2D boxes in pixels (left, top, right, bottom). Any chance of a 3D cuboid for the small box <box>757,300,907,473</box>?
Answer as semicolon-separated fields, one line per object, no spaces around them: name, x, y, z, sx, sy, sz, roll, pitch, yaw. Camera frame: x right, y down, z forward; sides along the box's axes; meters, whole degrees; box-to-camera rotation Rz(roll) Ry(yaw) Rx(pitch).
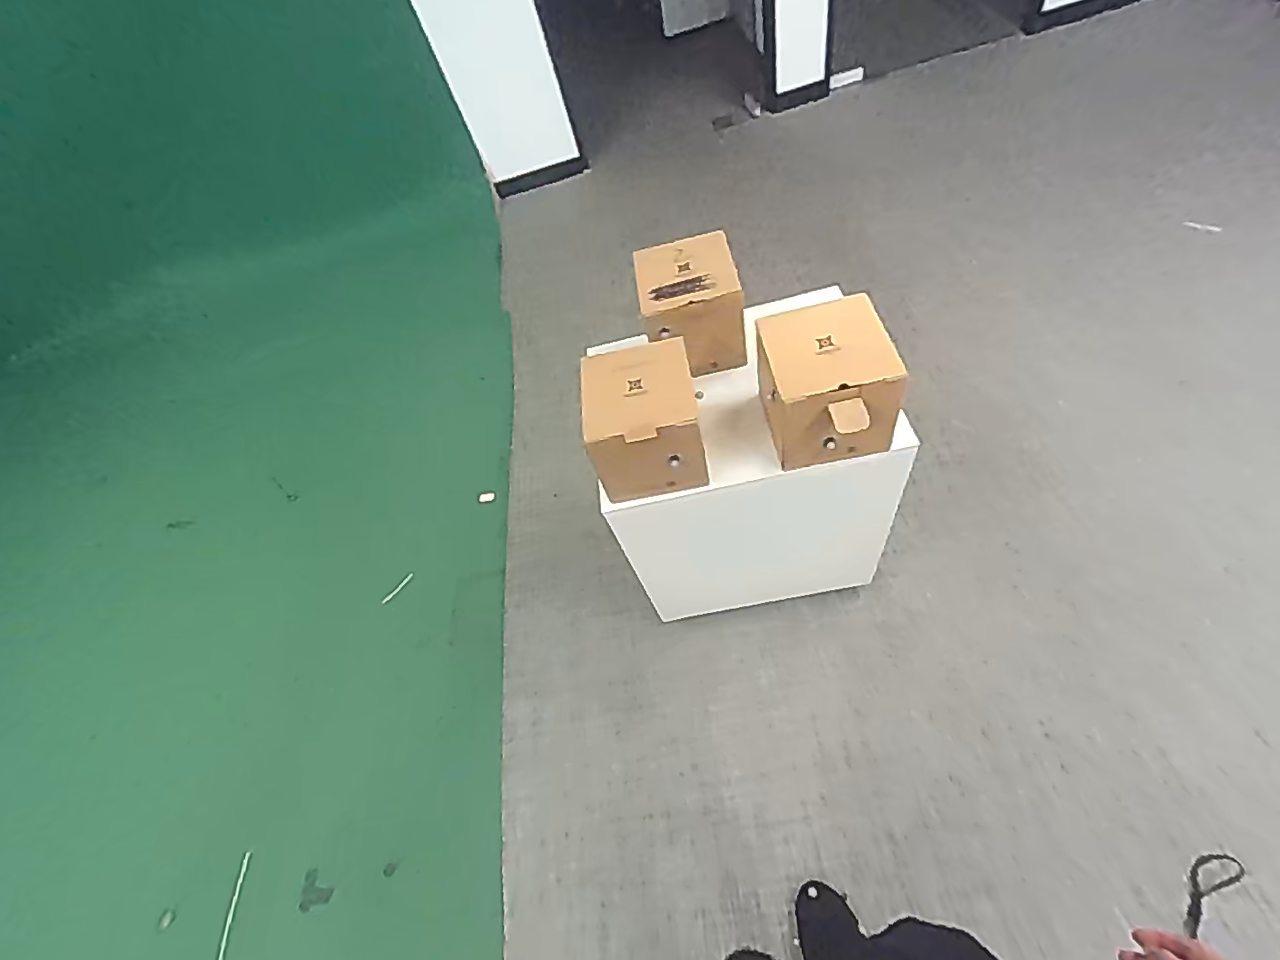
small box;0.276;-0.136;0.820;0.168;0.176;0.179;-12;54;7

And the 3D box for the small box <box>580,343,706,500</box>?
small box;0.007;-0.083;0.854;0.168;0.176;0.179;-10;53;6
